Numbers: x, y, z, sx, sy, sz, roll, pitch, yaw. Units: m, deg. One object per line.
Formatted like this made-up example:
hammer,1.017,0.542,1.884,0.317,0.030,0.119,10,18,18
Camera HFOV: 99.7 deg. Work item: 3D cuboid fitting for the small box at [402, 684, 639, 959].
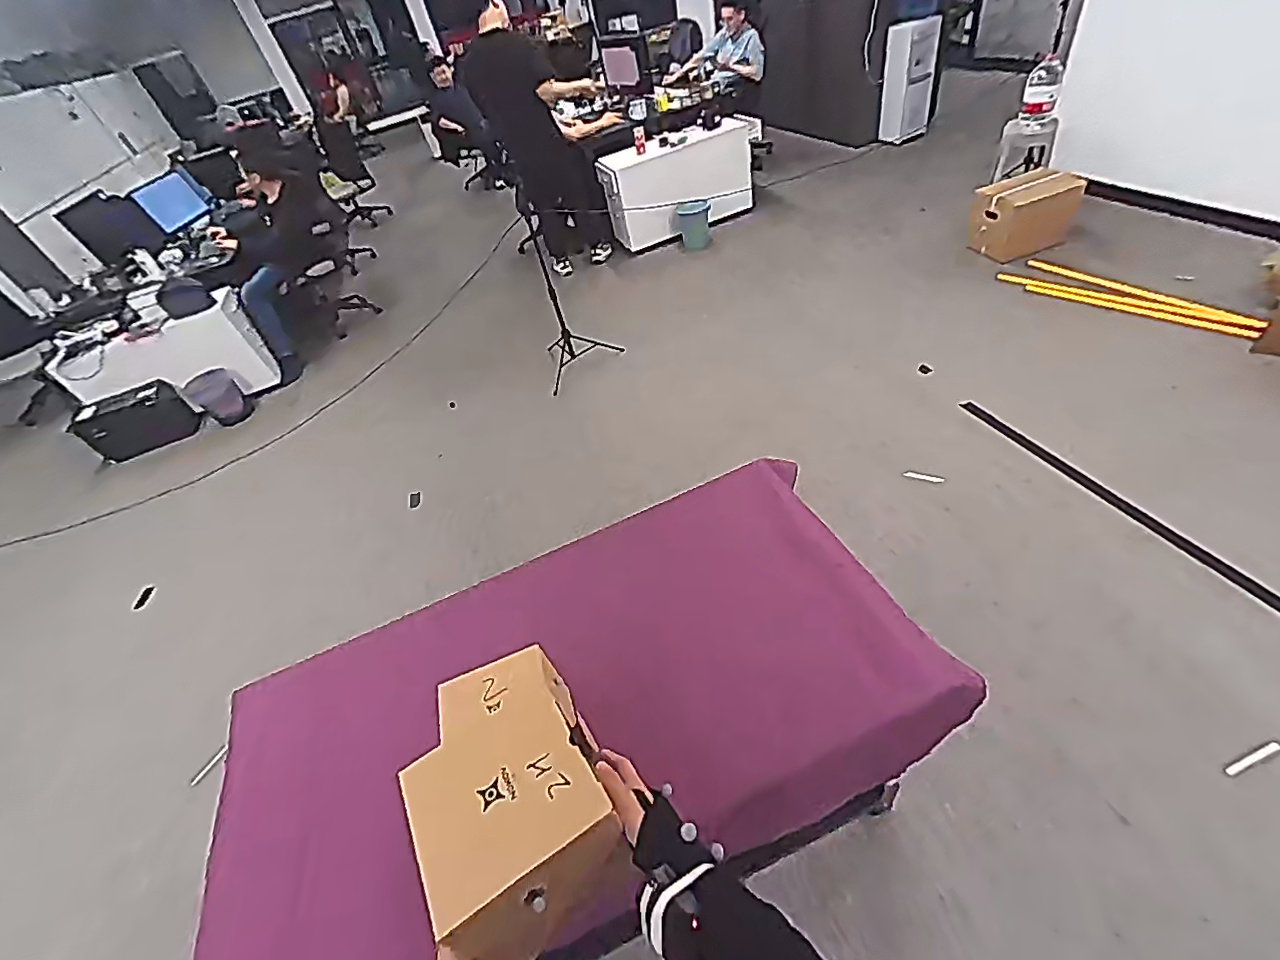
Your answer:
small box,-0.122,0.368,0.582,0.179,0.176,0.168,-28,41,-18
